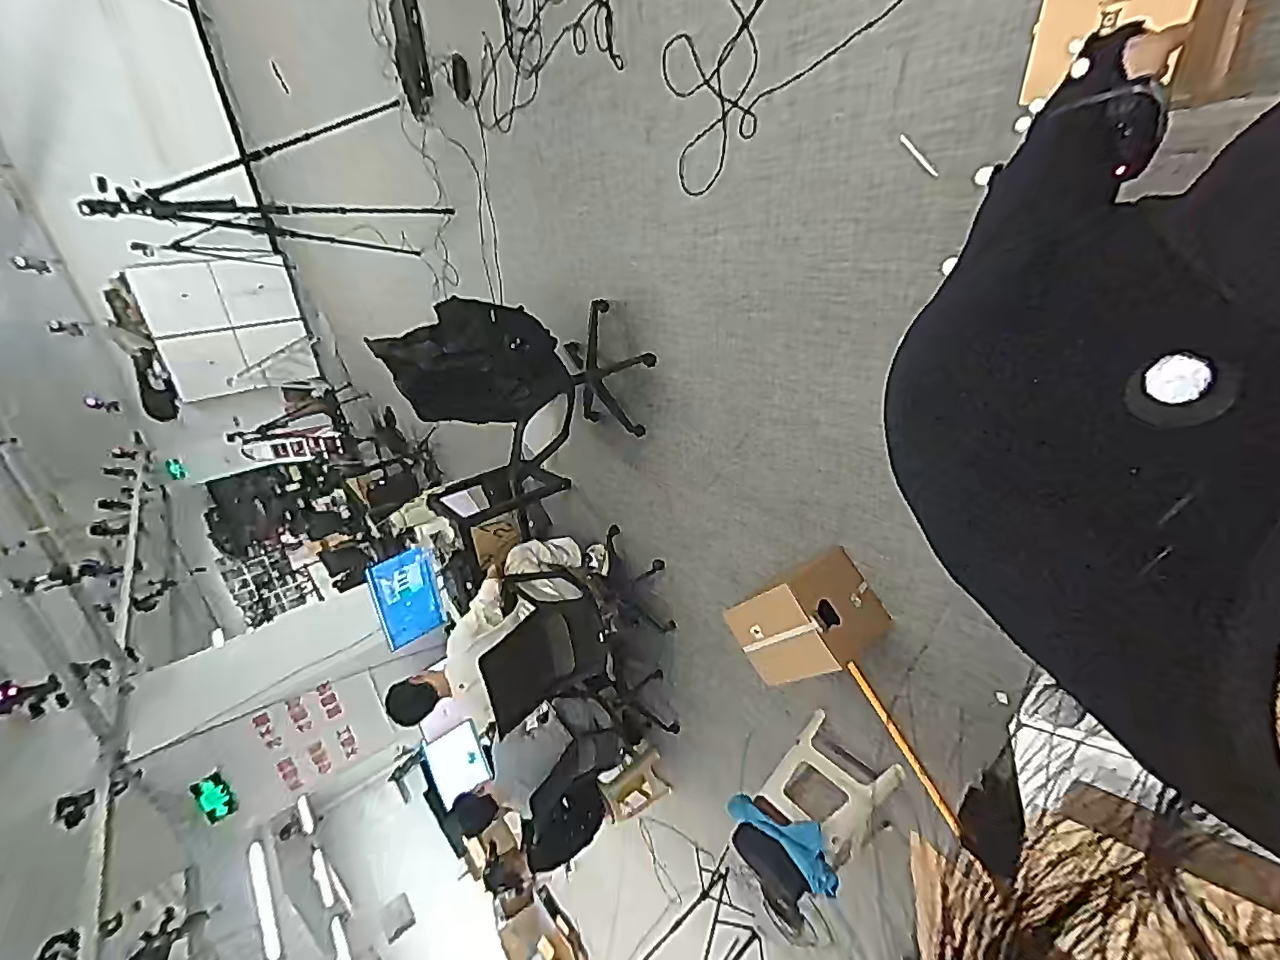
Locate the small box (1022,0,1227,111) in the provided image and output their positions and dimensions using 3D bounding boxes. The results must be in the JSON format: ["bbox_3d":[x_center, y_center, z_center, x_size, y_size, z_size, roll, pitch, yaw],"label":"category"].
[{"bbox_3d":[0.661,-0.613,0.731,0.168,0.176,0.179,27,129,43],"label":"small box"}]

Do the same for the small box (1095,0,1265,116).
[{"bbox_3d":[0.906,-0.736,0.908,0.168,0.176,0.179,21,125,47],"label":"small box"}]
